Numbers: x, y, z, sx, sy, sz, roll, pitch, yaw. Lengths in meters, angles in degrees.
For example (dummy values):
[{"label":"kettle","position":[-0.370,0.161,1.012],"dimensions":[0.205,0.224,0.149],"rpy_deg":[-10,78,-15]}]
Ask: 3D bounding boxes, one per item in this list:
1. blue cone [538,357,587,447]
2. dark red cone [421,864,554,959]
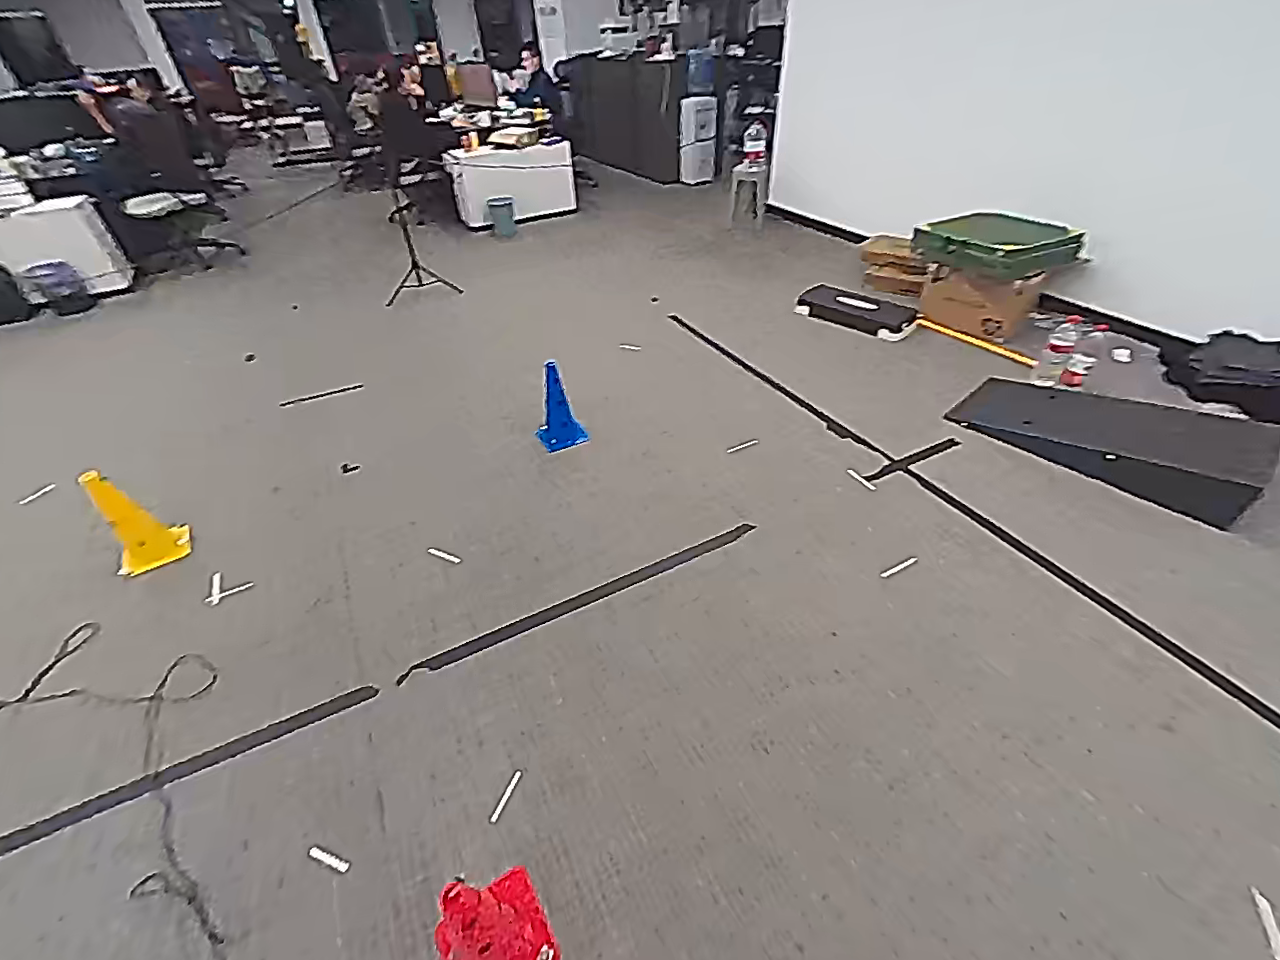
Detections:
[{"label":"blue cone","position":[-0.351,-0.340,2.308],"dimensions":[0.193,0.380,0.192],"rpy_deg":[-19,42,-19]},{"label":"dark red cone","position":[-0.298,0.768,0.942],"dimensions":[0.202,0.394,0.201],"rpy_deg":[-26,44,-25]}]
